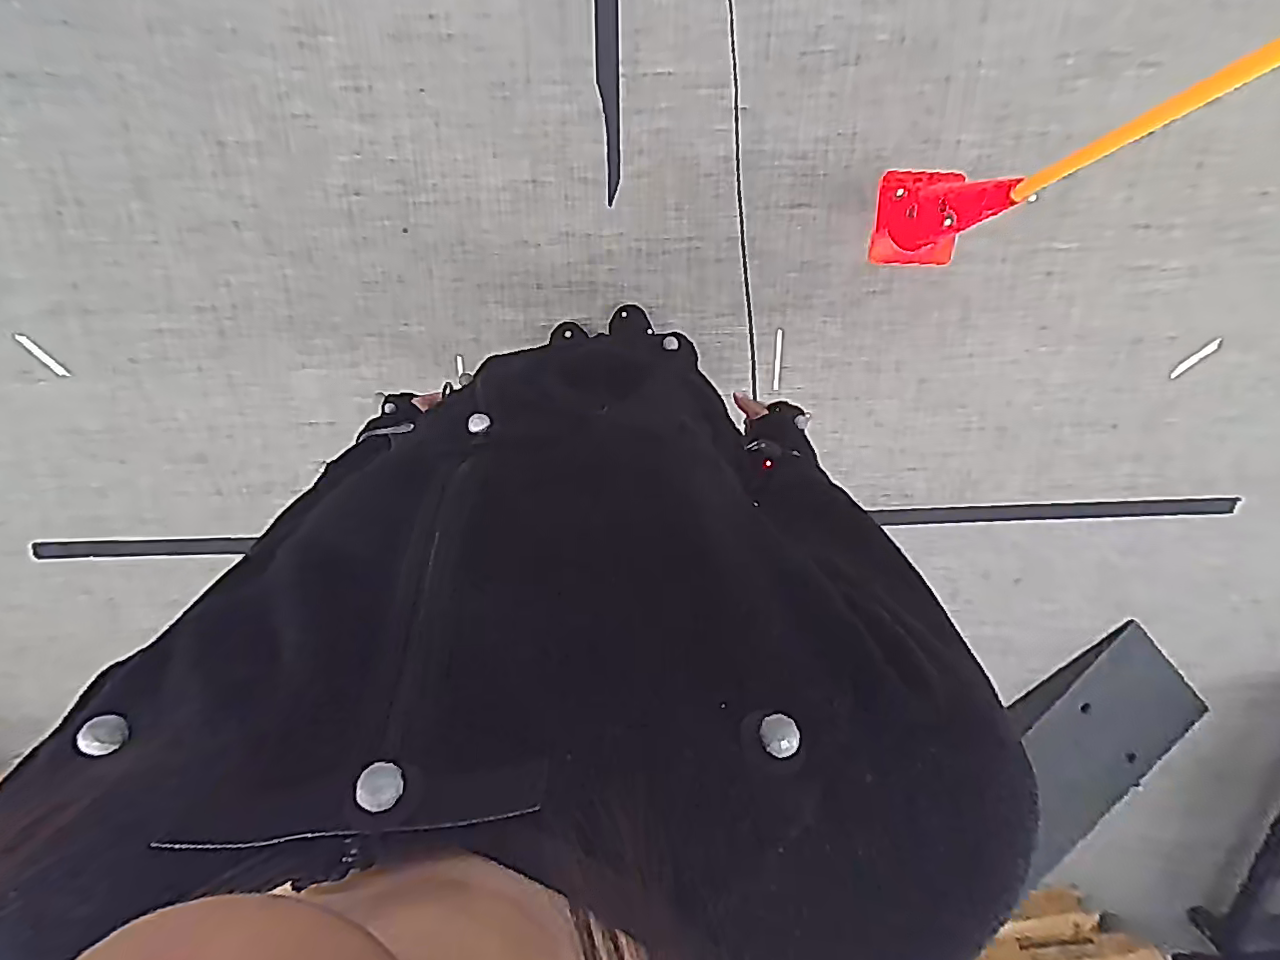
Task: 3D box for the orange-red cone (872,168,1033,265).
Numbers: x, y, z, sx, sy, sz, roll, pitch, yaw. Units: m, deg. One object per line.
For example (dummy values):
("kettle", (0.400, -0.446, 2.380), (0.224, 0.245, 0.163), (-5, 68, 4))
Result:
("orange-red cone", (0.653, -0.552, 1.092), (0.198, 0.360, 0.199), (2, 109, -2))
